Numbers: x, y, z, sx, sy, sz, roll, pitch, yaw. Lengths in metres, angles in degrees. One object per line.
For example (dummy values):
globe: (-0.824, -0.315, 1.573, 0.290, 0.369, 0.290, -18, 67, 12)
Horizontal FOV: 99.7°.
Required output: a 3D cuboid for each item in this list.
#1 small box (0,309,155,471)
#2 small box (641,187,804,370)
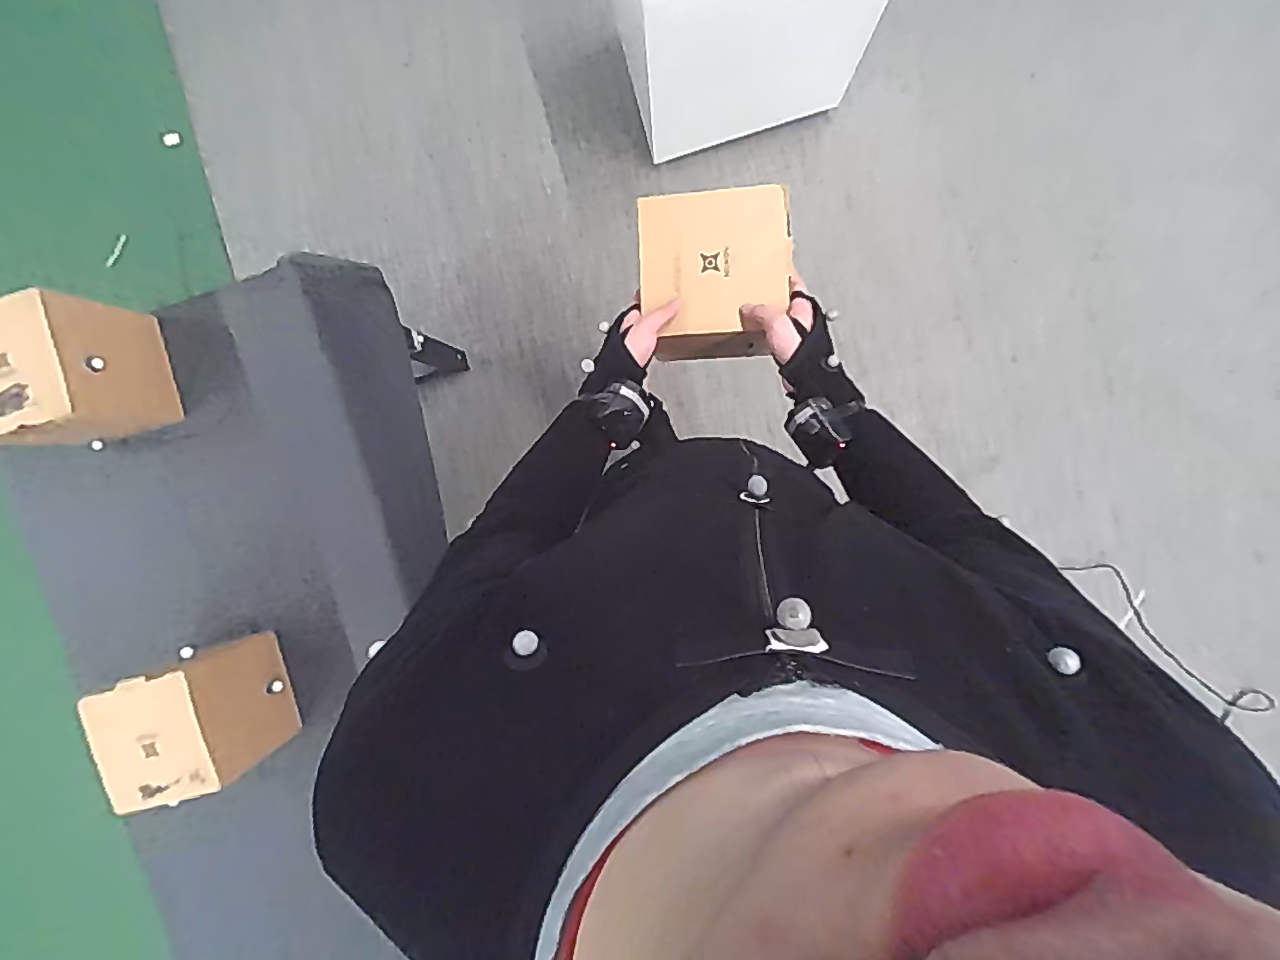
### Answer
small box: (-0.833, -0.113, 0.748, 0.168, 0.176, 0.179, -15, 91, 2)
small box: (0.101, -0.240, 0.687, 0.179, 0.176, 0.168, -4, 90, 7)
